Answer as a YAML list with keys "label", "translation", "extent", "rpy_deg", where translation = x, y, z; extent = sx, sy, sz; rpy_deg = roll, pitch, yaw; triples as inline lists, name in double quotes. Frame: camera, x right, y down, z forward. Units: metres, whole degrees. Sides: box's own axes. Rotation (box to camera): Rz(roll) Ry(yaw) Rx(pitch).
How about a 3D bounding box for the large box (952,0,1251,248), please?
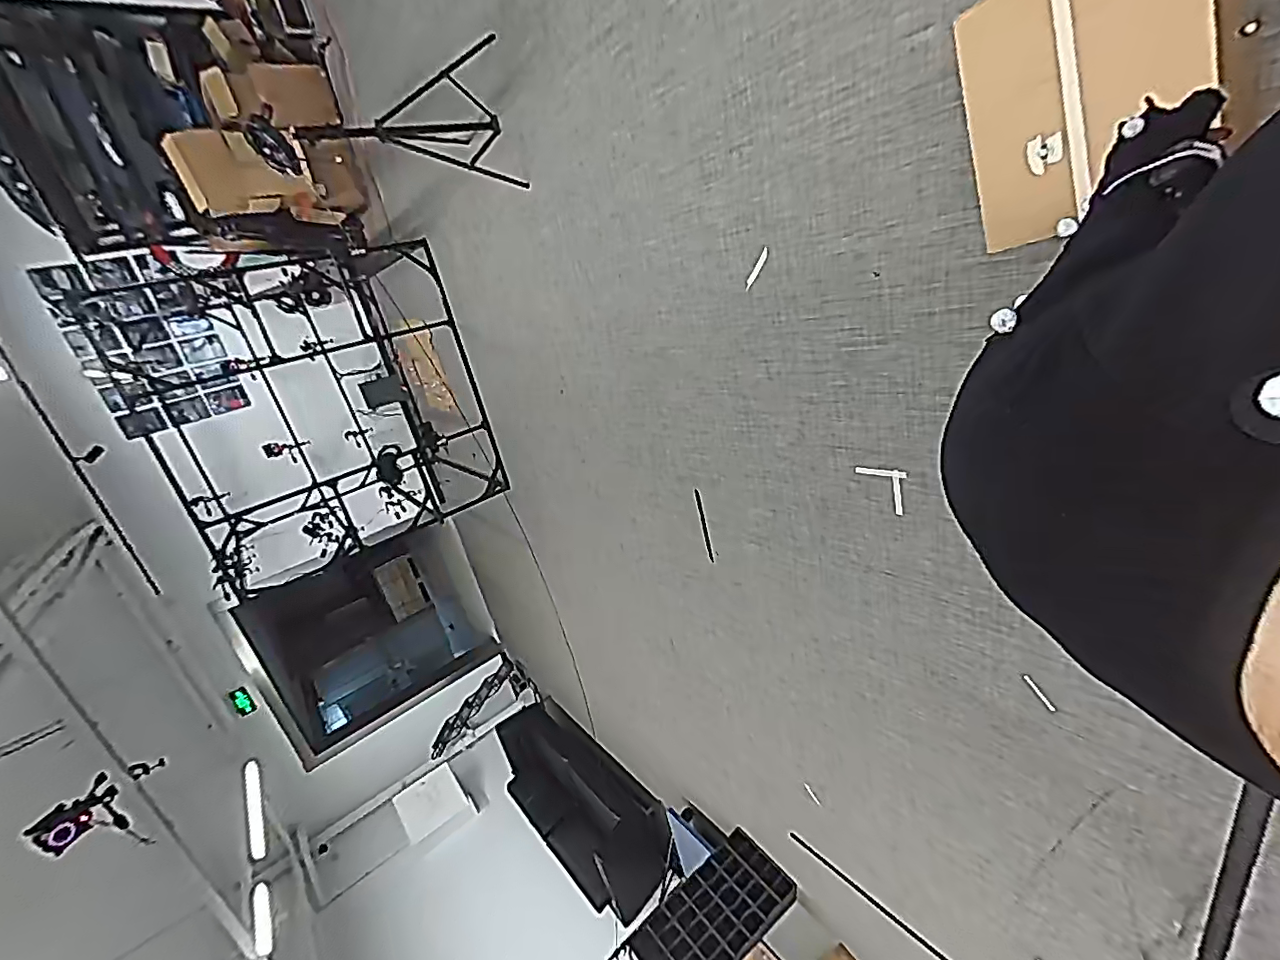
- label: "large box"
  translation: [0.811, -0.684, 0.949]
  extent: [0.320, 0.320, 0.408]
  rpy_deg: [3, 116, 56]
